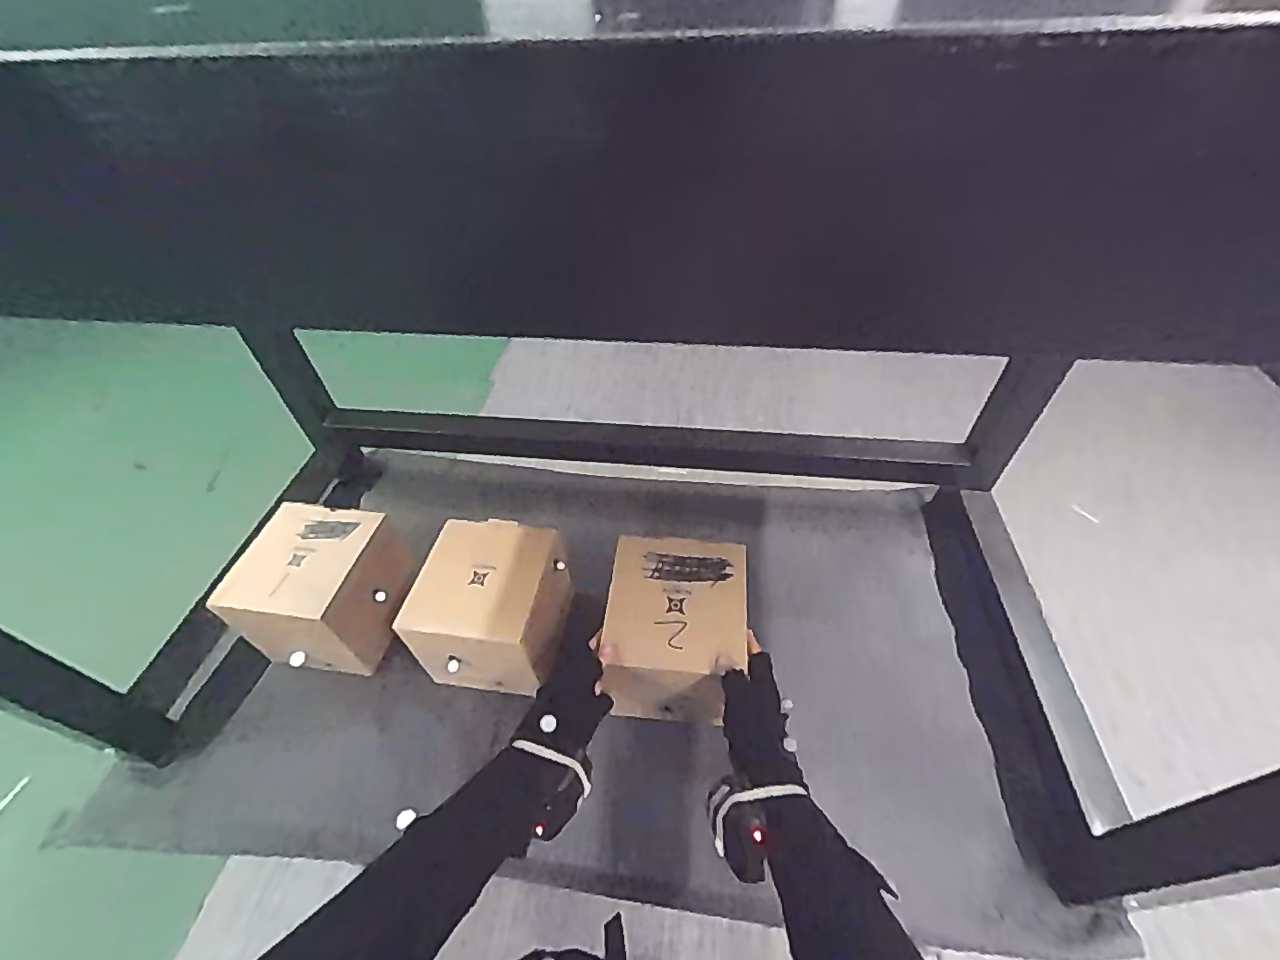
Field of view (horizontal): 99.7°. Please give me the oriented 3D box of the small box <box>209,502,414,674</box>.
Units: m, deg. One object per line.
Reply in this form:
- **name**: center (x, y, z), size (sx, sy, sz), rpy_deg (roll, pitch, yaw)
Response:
- **small box**: center (-0.458, 0.158, 0.794), size (0.168, 0.176, 0.179), rpy_deg (5, 47, 8)

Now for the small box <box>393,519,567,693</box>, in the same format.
- **small box**: center (-0.207, 0.180, 0.765), size (0.168, 0.176, 0.179), rpy_deg (5, 47, 7)
